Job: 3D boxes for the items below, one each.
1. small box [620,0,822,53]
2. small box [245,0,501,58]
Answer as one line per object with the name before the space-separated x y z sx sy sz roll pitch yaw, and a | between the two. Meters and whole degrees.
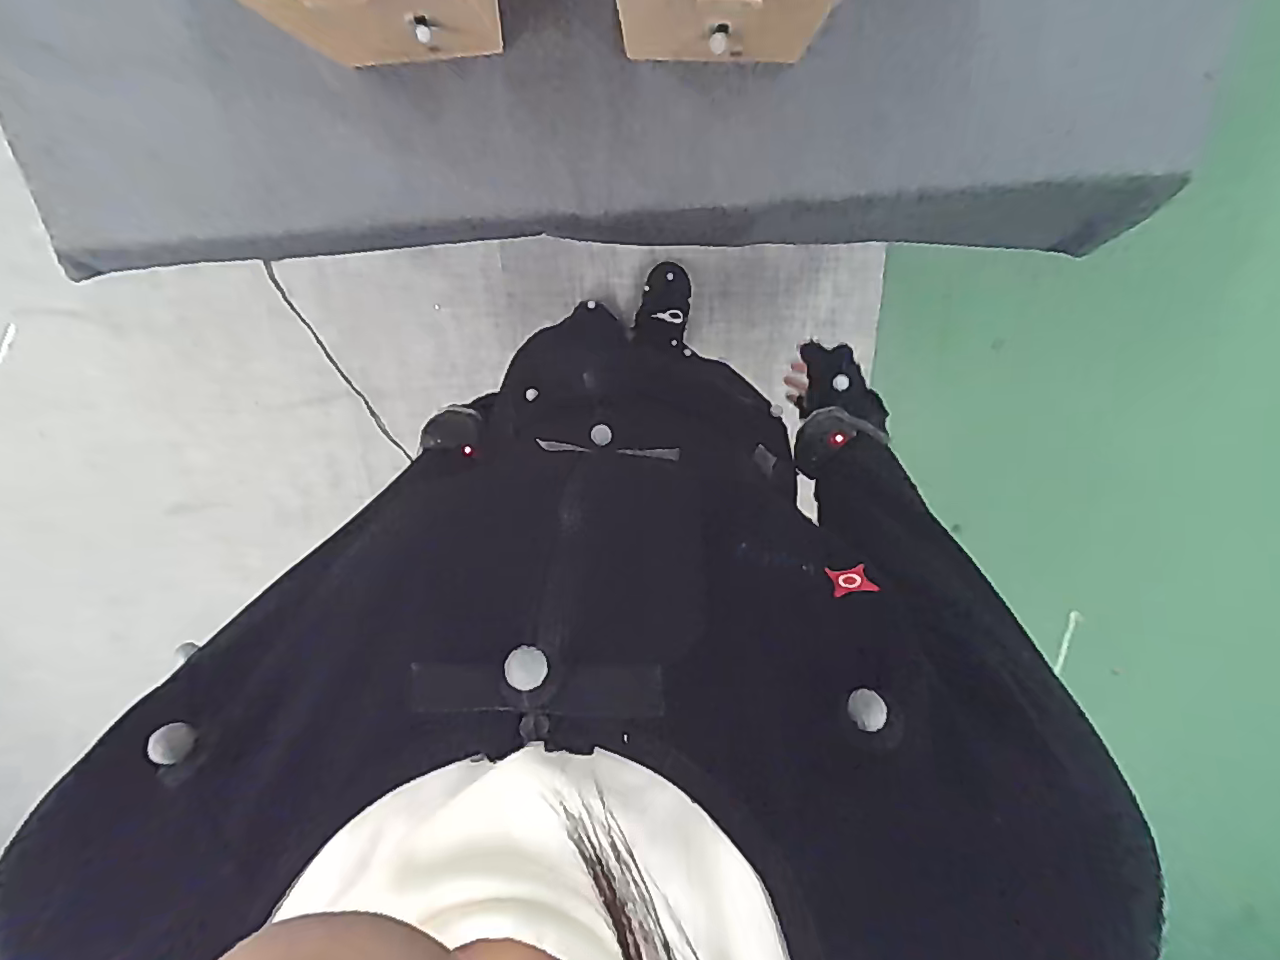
small box | 0.068 -0.458 0.417 0.168 0.176 0.179 2 113 1
small box | -0.220 -0.466 0.429 0.168 0.176 0.179 -3 110 3
